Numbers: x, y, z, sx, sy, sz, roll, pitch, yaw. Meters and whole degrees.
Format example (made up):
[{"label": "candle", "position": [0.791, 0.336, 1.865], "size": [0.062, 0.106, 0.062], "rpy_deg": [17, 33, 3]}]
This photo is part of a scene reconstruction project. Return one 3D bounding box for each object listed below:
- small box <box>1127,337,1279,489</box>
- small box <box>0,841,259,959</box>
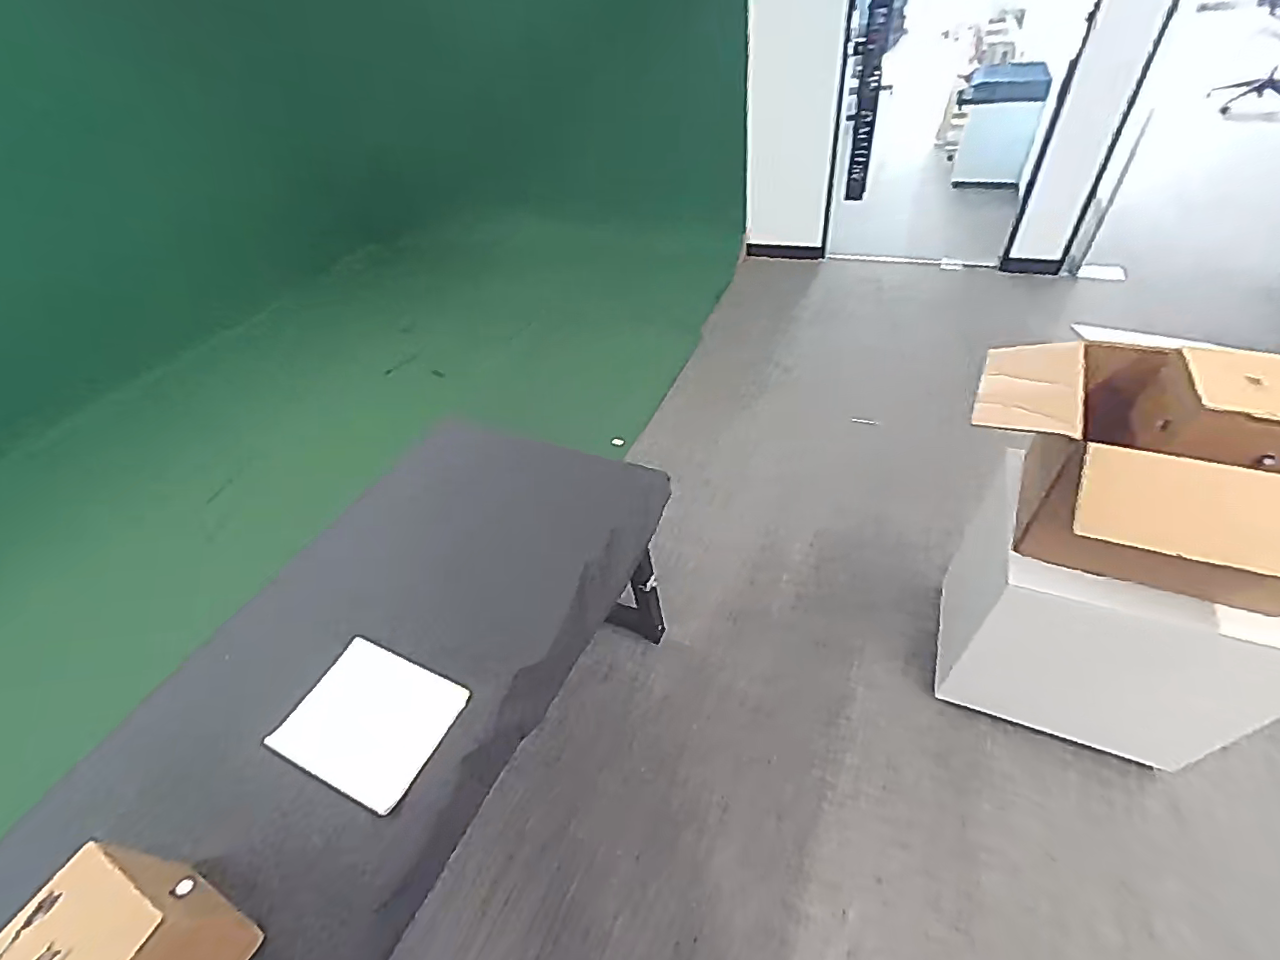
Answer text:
[{"label": "small box", "position": [0.962, -0.110, 0.898], "size": [0.168, 0.176, 0.179], "rpy_deg": [15, 49, 19]}, {"label": "small box", "position": [-0.600, 0.559, 0.624], "size": [0.179, 0.176, 0.168], "rpy_deg": [14, 50, 23]}]
